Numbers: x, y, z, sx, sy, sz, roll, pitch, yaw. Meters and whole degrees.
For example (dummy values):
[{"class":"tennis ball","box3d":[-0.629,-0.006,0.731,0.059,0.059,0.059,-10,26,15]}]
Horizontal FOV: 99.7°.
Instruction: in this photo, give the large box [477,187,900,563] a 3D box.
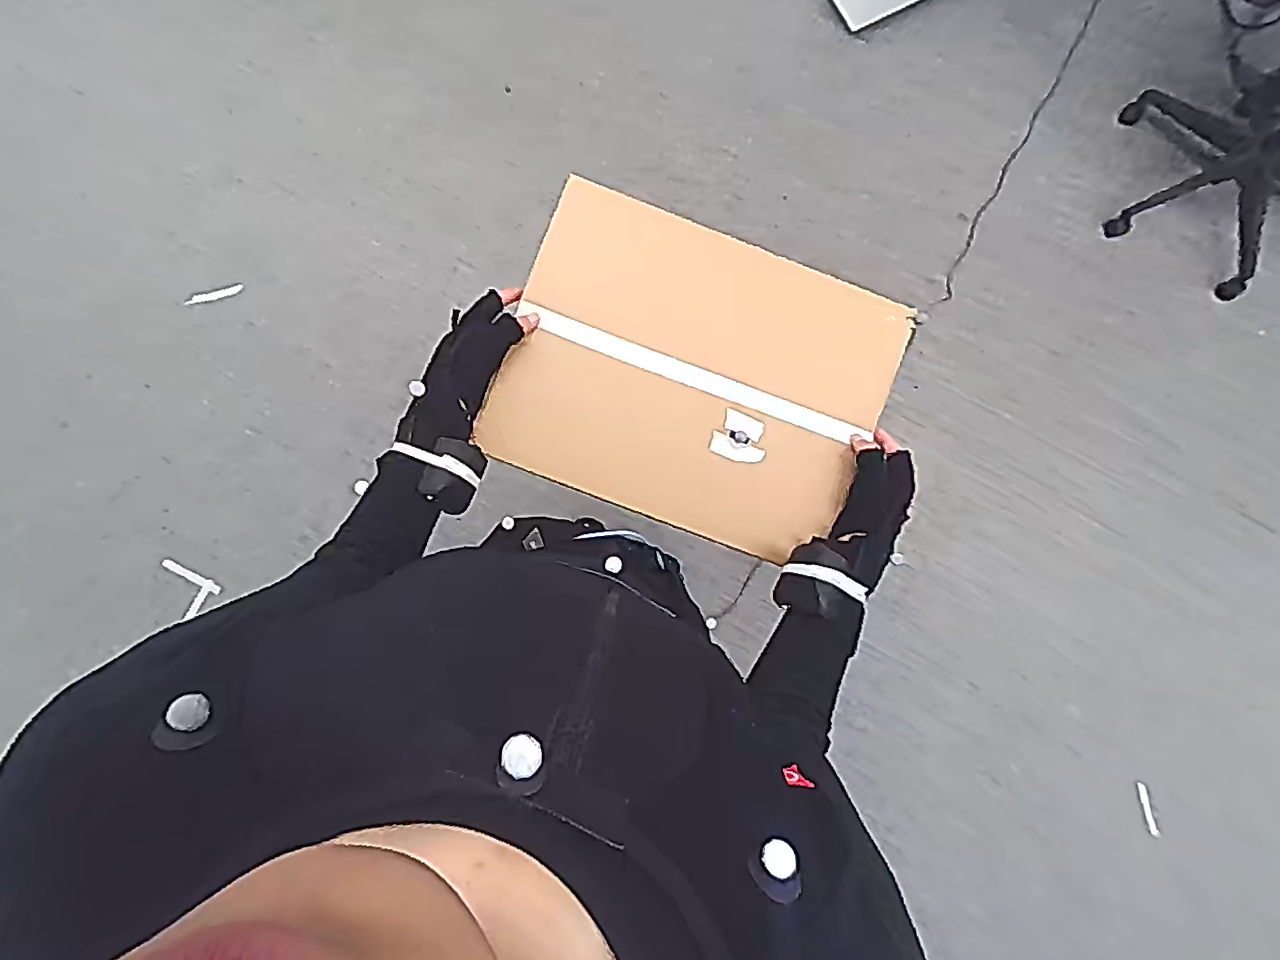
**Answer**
[{"class":"large box","box3d":[0.049,-0.114,0.744,0.408,0.320,0.320,21,89,-2]}]
